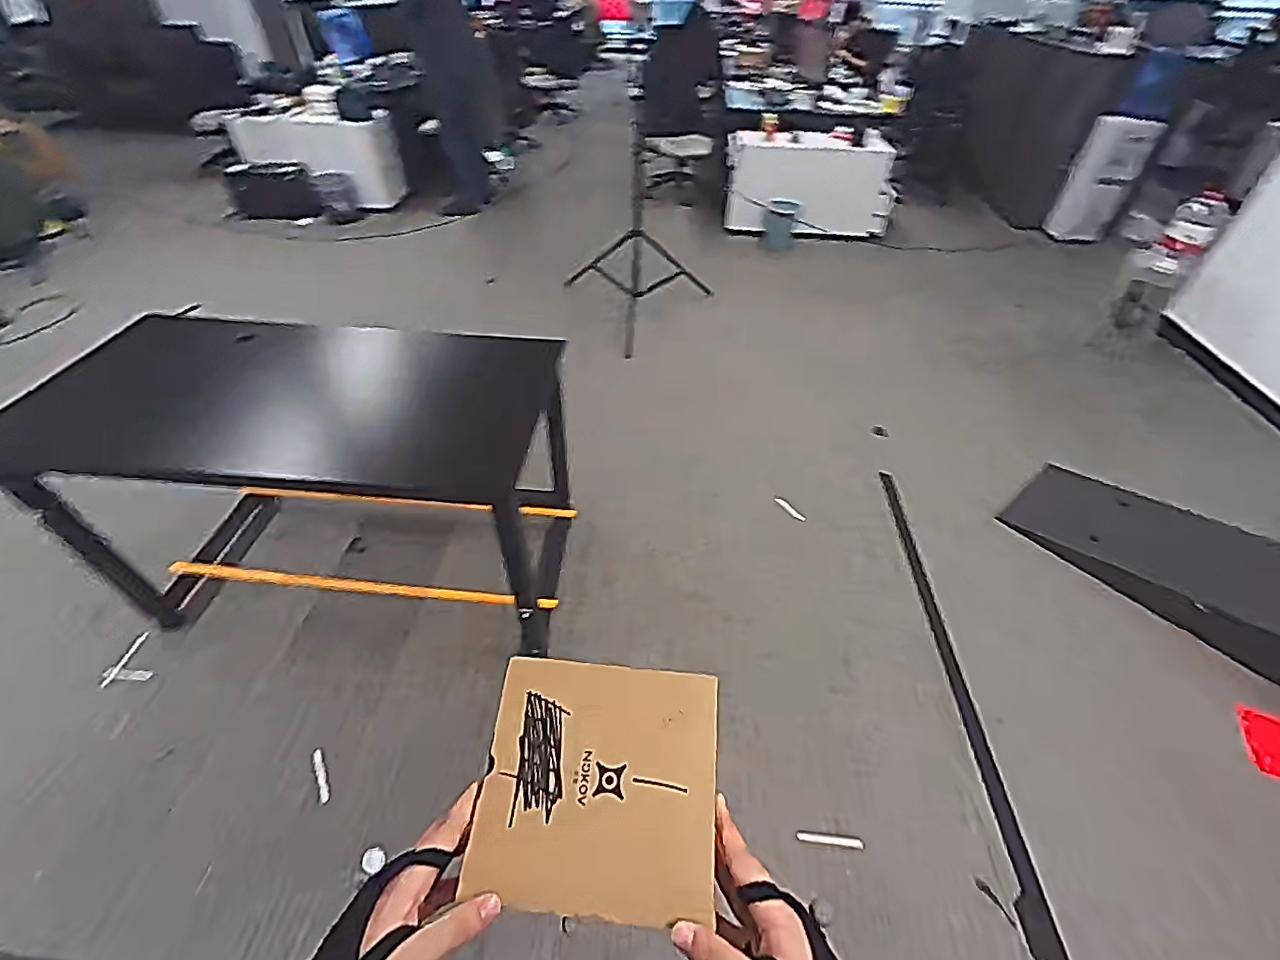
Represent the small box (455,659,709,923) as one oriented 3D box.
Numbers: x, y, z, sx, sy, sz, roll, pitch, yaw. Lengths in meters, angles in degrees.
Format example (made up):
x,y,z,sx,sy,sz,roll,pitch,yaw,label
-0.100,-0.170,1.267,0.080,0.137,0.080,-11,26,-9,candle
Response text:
x,y,z,sx,sy,sz,roll,pitch,yaw,label
-0.034,0.271,0.478,0.179,0.176,0.168,3,55,4,small box
